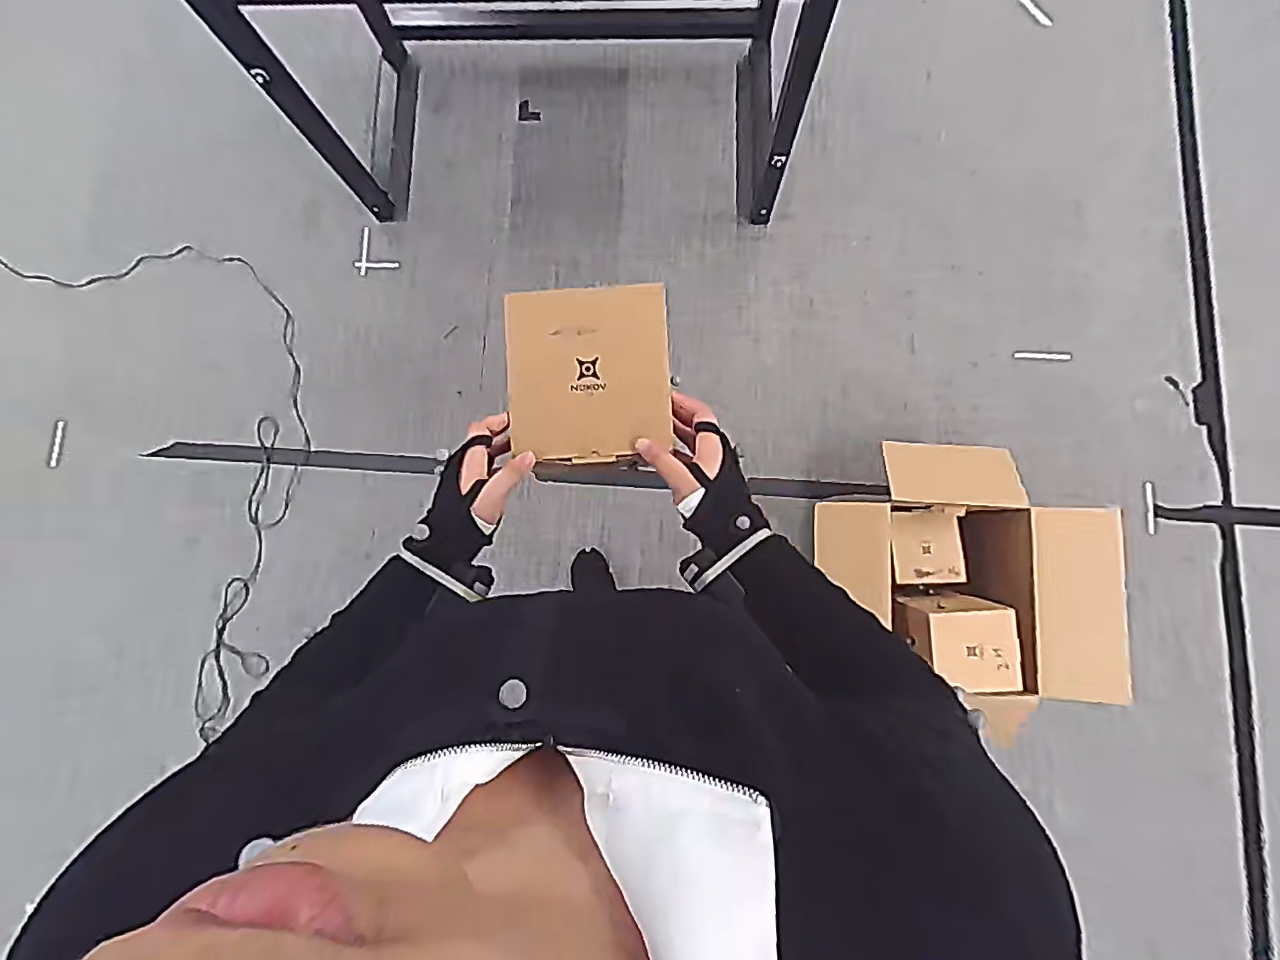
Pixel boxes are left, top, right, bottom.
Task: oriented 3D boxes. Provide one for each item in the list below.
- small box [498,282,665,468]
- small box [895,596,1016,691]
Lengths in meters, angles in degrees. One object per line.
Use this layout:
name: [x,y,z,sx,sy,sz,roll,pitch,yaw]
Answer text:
small box: [-0.057,-0.106,0.622,0.168,0.176,0.179,-3,87,1]
small box: [0.680,0.353,1.188,0.179,0.176,0.168,-3,87,2]
